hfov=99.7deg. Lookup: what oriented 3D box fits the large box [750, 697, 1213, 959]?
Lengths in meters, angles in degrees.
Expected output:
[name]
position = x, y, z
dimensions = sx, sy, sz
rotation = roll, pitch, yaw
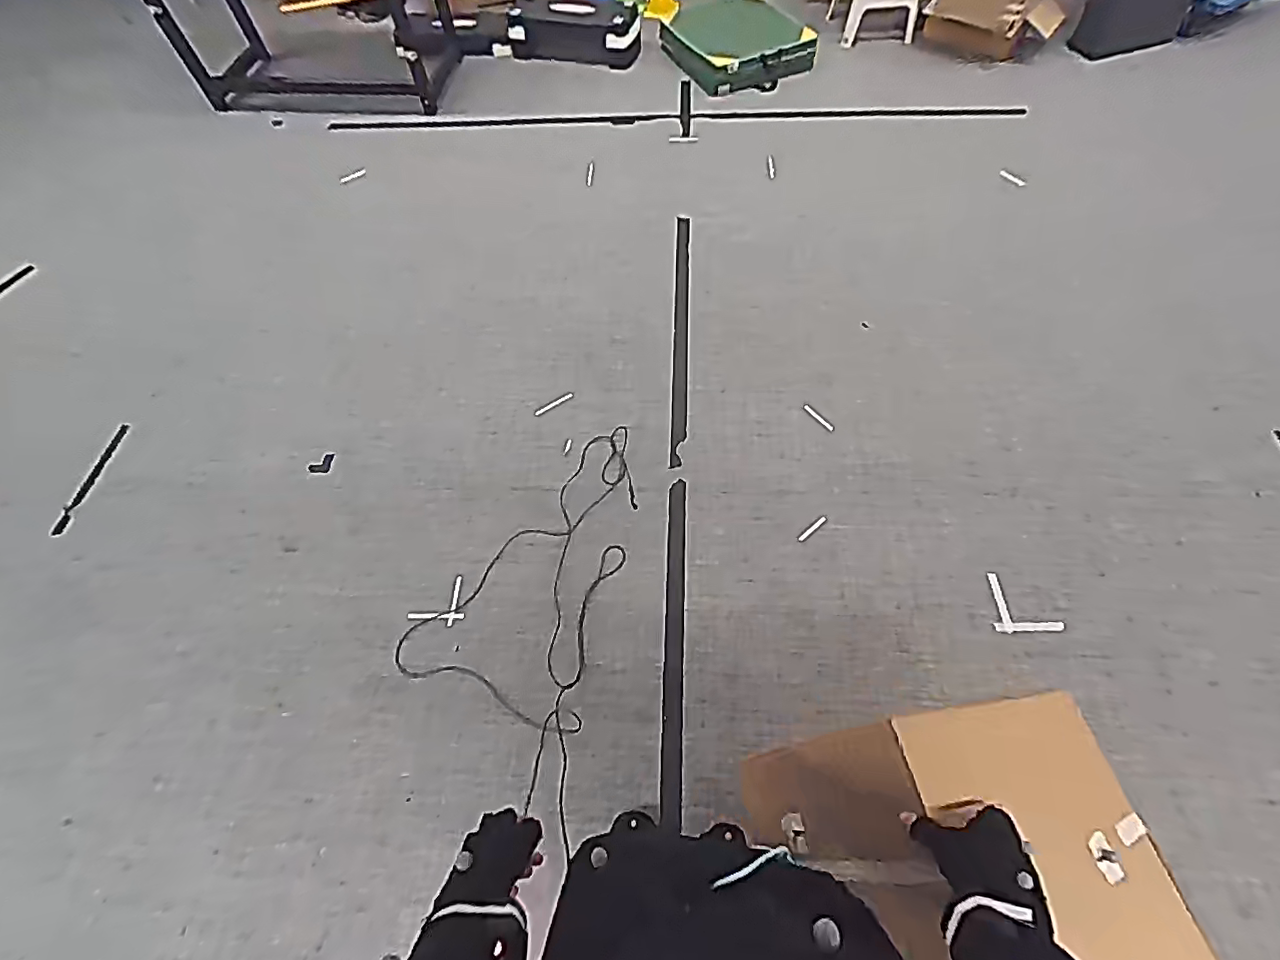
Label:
[large box]
position = 0.410, 0.526, 0.760
dimensions = 0.320, 0.408, 0.320
rotation = 3, 55, -17
